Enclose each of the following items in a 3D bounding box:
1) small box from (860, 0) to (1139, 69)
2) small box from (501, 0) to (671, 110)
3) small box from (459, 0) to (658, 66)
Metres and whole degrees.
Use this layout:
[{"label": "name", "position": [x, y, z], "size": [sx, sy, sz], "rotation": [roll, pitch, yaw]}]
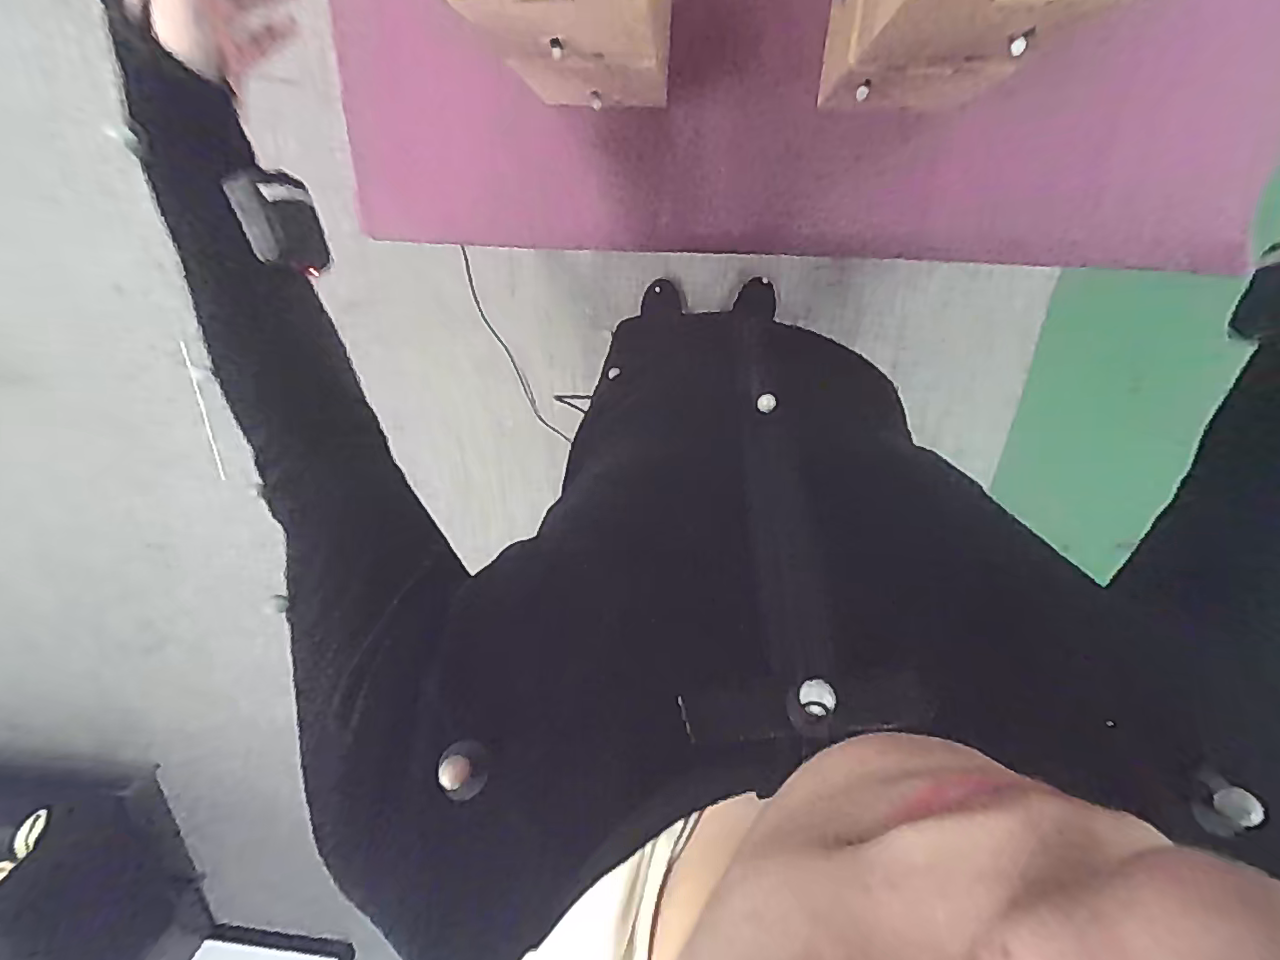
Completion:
[{"label": "small box", "position": [0.289, -0.454, 0.429], "size": [0.168, 0.176, 0.179], "rotation": [4, 112, 4]}, {"label": "small box", "position": [-0.053, -0.543, 0.607], "size": [0.168, 0.176, 0.179], "rotation": [5, 113, 5]}, {"label": "small box", "position": [-0.069, -0.484, 0.457], "size": [0.168, 0.176, 0.179], "rotation": [3, 113, 4]}]
